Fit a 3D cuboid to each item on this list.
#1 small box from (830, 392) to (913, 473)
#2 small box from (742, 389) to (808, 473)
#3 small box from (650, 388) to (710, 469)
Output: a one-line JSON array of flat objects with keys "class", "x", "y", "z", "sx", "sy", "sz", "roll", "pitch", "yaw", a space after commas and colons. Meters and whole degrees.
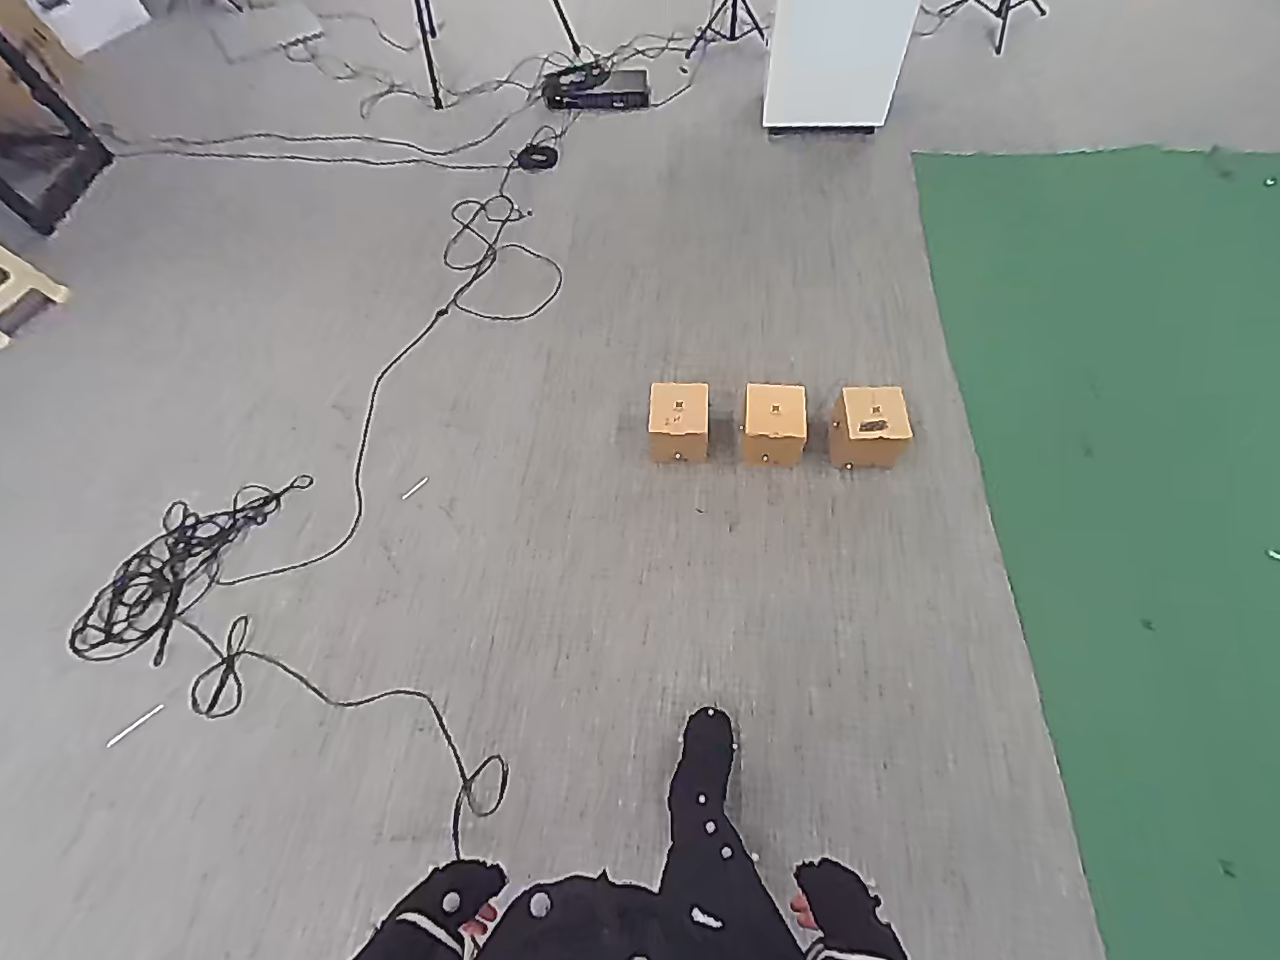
[{"class": "small box", "x": 0.656, "y": -0.132, "z": 1.550, "sx": 0.168, "sy": 0.176, "sz": 0.179, "roll": 1, "pitch": 61, "yaw": 5}, {"class": "small box", "x": 0.388, "y": -0.142, "z": 1.577, "sx": 0.168, "sy": 0.176, "sz": 0.179, "roll": 3, "pitch": 62, "yaw": 6}, {"class": "small box", "x": 0.121, "y": -0.152, "z": 1.600, "sx": 0.168, "sy": 0.176, "sz": 0.179, "roll": 1, "pitch": 62, "yaw": 6}]
